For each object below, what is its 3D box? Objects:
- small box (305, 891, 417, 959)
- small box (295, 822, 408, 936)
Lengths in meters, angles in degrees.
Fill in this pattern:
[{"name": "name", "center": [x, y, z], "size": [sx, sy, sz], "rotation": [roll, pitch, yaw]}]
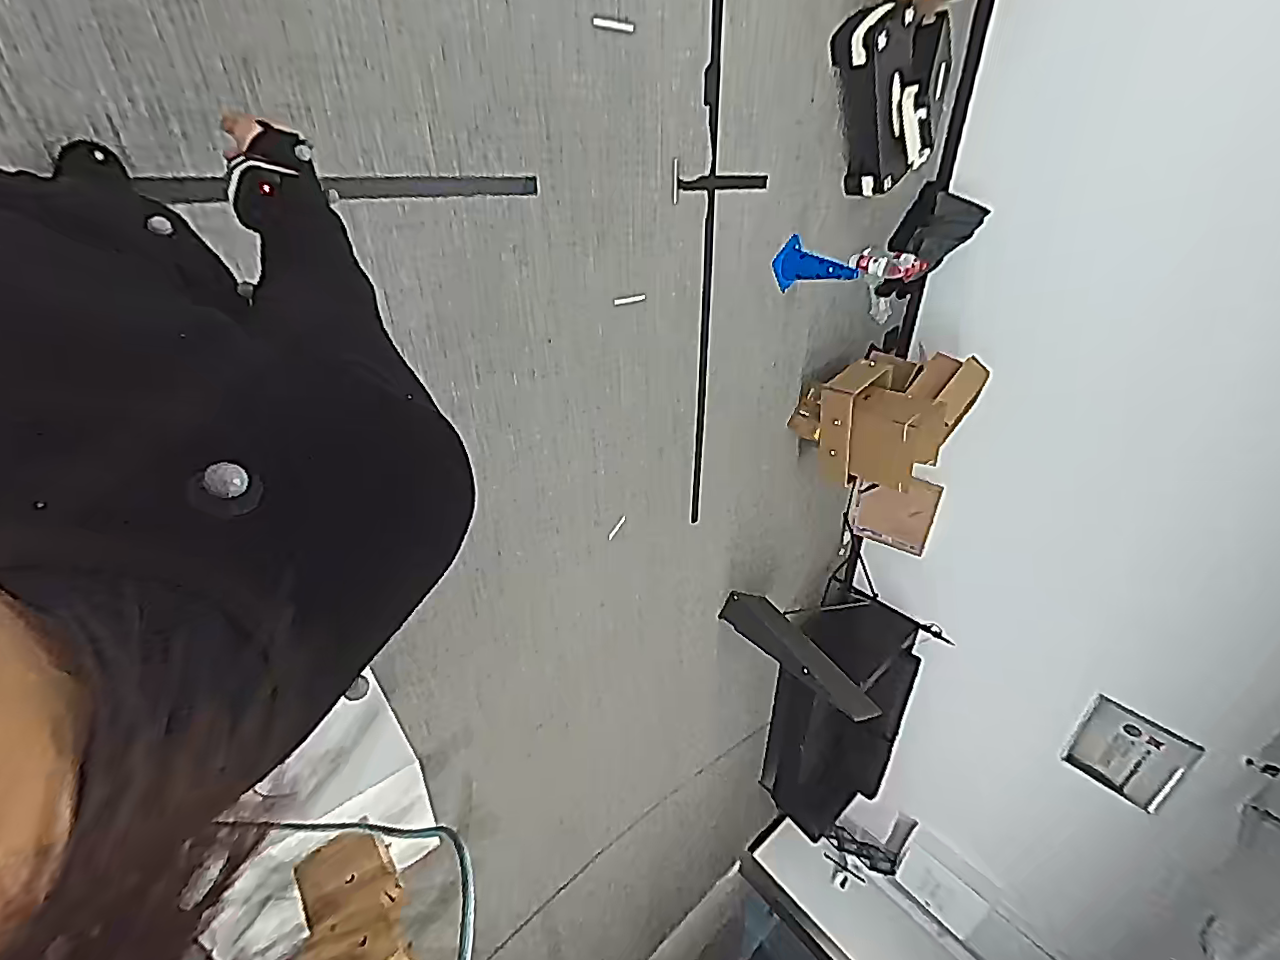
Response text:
[{"name": "small box", "center": [-0.616, 1.075, 1.207], "size": [0.168, 0.176, 0.179], "rotation": [-27, 130, -32]}, {"name": "small box", "center": [-0.703, 0.990, 1.319], "size": [0.179, 0.176, 0.168], "rotation": [-28, 129, -31]}]
